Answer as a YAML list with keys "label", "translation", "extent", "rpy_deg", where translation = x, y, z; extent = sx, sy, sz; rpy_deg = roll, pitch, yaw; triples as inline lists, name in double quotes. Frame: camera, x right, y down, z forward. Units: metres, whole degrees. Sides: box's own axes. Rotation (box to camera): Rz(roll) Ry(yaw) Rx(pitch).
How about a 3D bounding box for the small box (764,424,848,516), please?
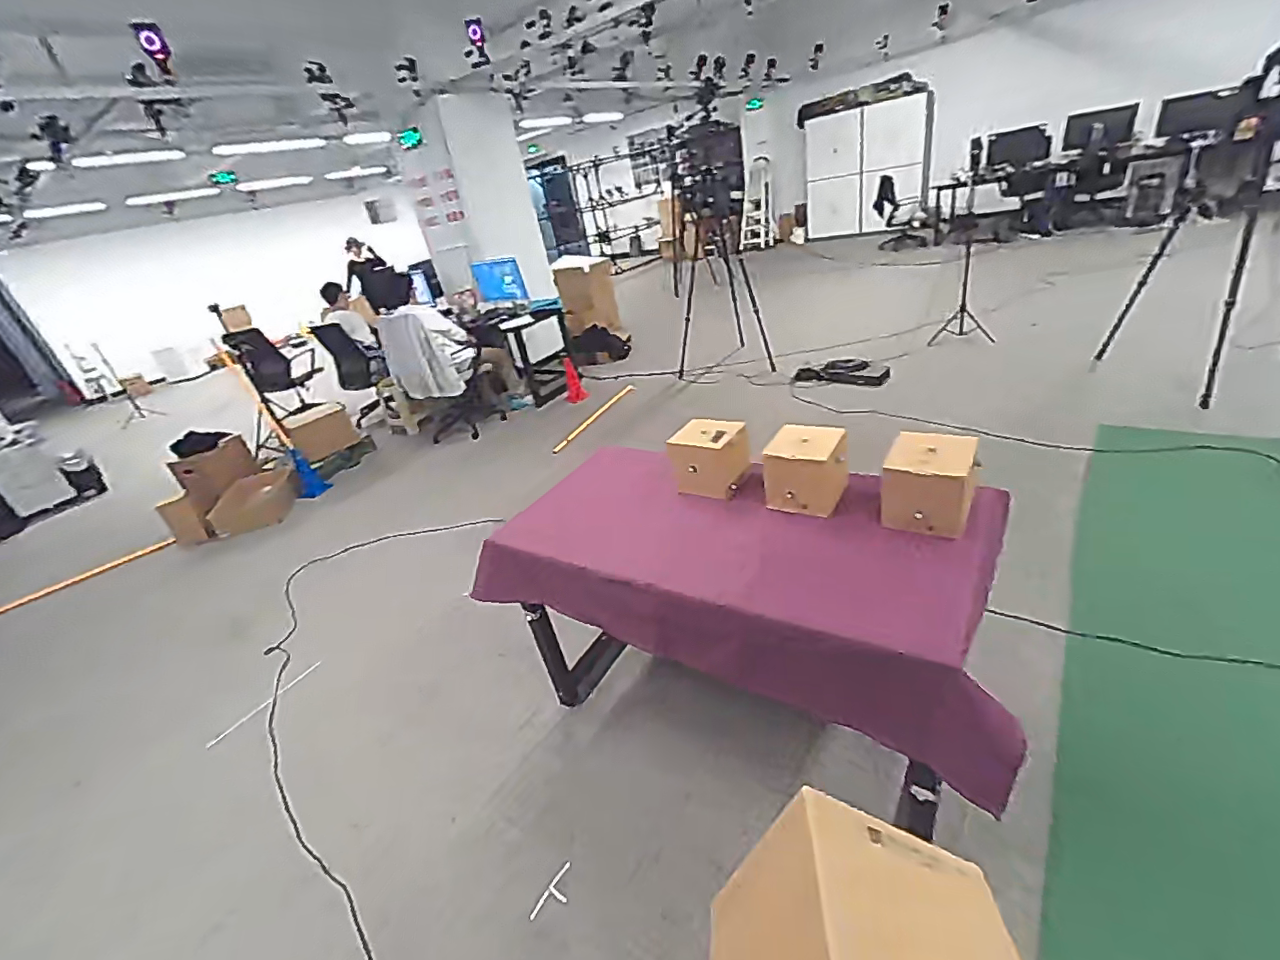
- label: "small box"
  translation: [0.439, -0.030, 1.420]
  extent: [0.168, 0.176, 0.179]
  rpy_deg: [8, 36, 34]

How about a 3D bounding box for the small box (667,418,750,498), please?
- label: "small box"
  translation: [0.207, -0.064, 1.576]
  extent: [0.179, 0.176, 0.168]
  rpy_deg: [9, 36, 36]

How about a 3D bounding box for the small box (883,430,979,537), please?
- label: "small box"
  translation: [0.668, 0.005, 1.247]
  extent: [0.168, 0.176, 0.179]
  rpy_deg: [9, 38, 37]
